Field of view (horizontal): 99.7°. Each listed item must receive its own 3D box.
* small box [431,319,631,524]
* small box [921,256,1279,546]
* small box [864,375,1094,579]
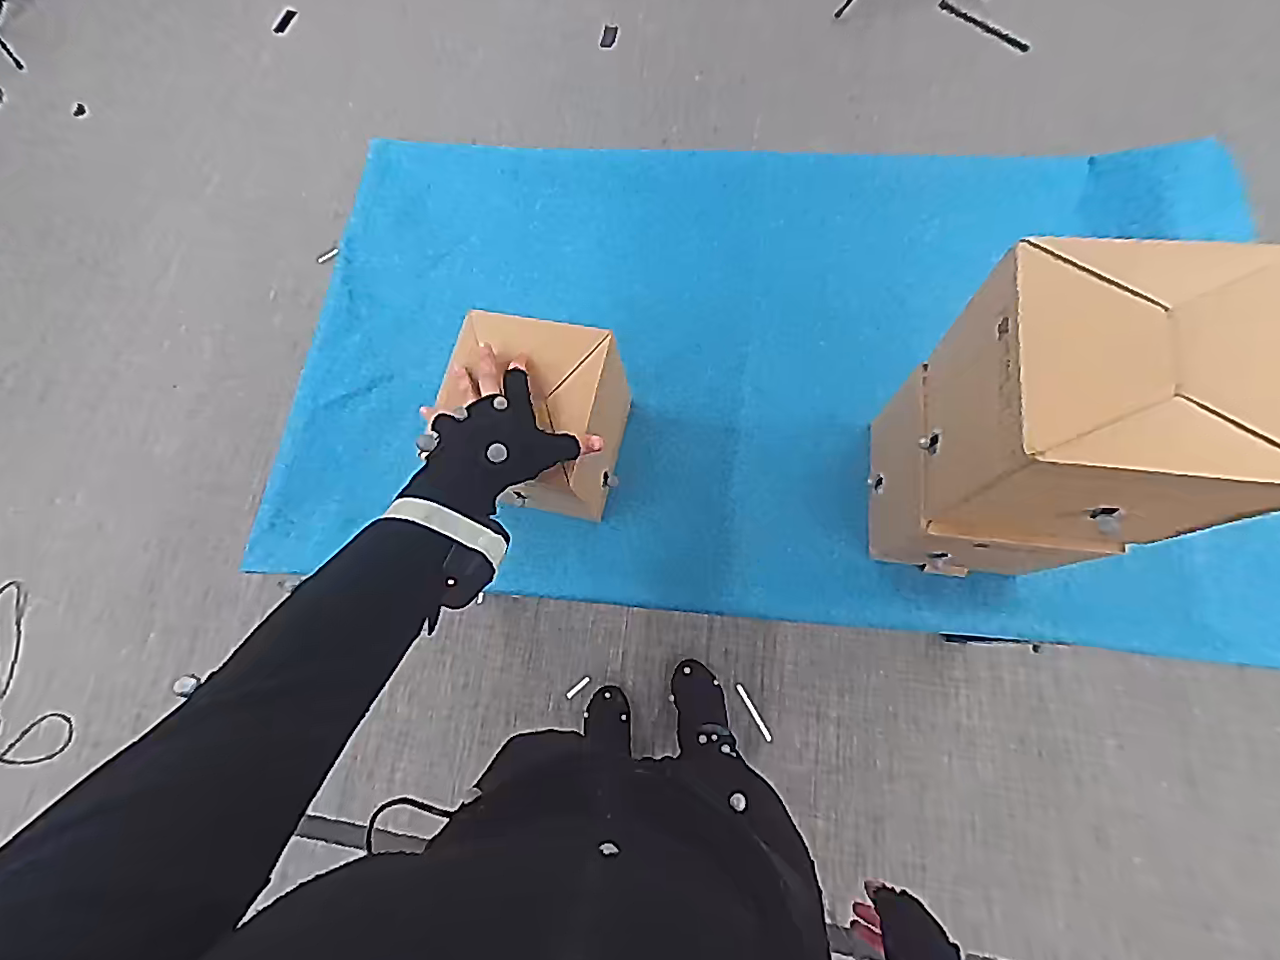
[{"bbox_3d":[-0.117,-0.062,0.637,0.168,0.176,0.179,11,75,9],"label":"small box"},{"bbox_3d":[0.339,-0.052,0.420,0.179,0.176,0.168,6,73,10],"label":"small box"},{"bbox_3d":[0.347,0.000,0.575,0.168,0.176,0.179,5,74,7],"label":"small box"}]
